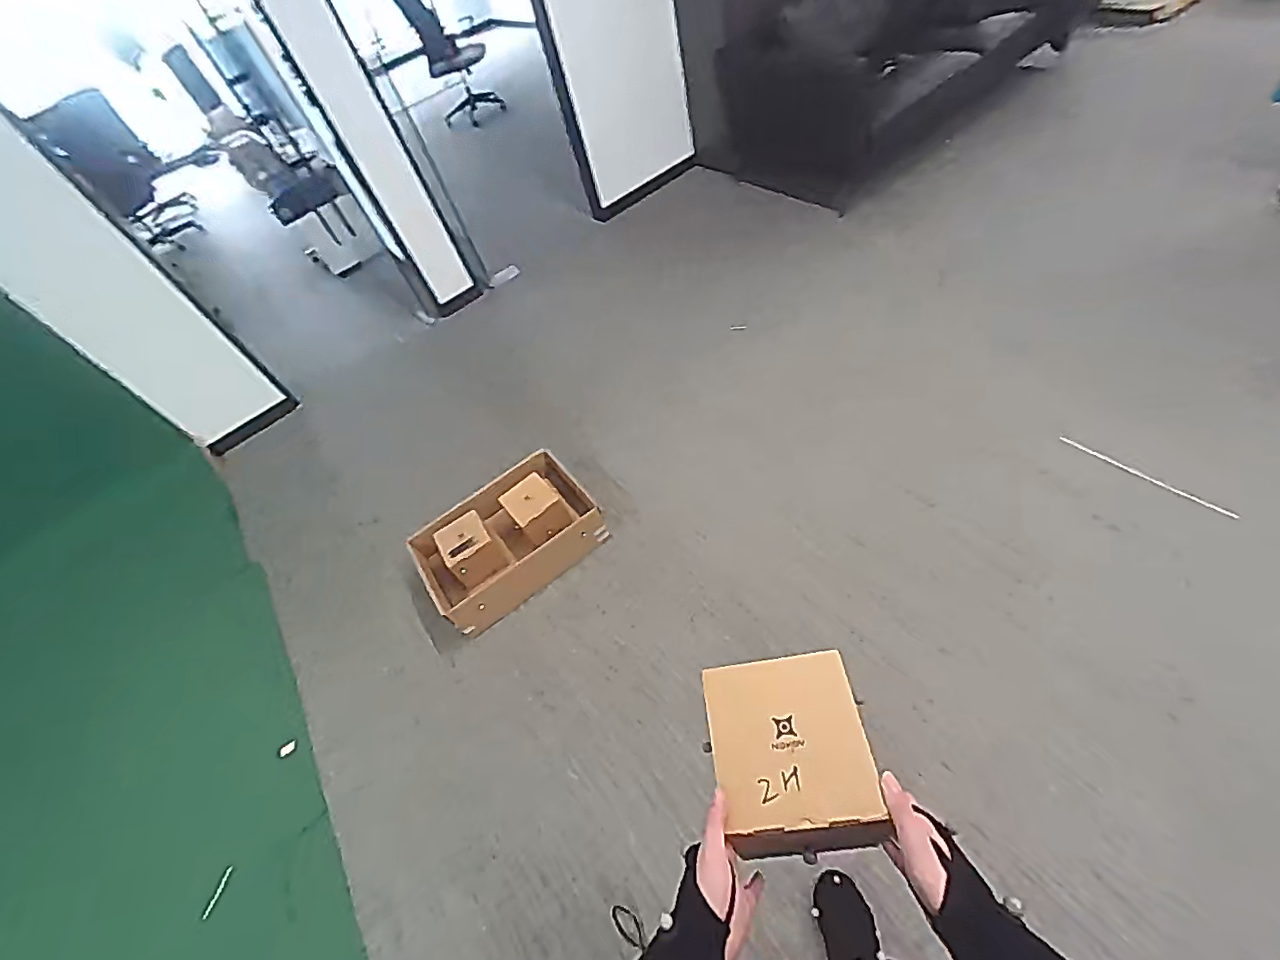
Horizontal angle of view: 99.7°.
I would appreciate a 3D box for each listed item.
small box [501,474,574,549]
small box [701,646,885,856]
[{"bbox_3d":[-0.368,0.119,1.965,0.168,0.176,0.179,-38,53,-14],"label":"small box"},{"bbox_3d":[0.174,0.326,0.647,0.168,0.176,0.179,-12,46,9],"label":"small box"}]
